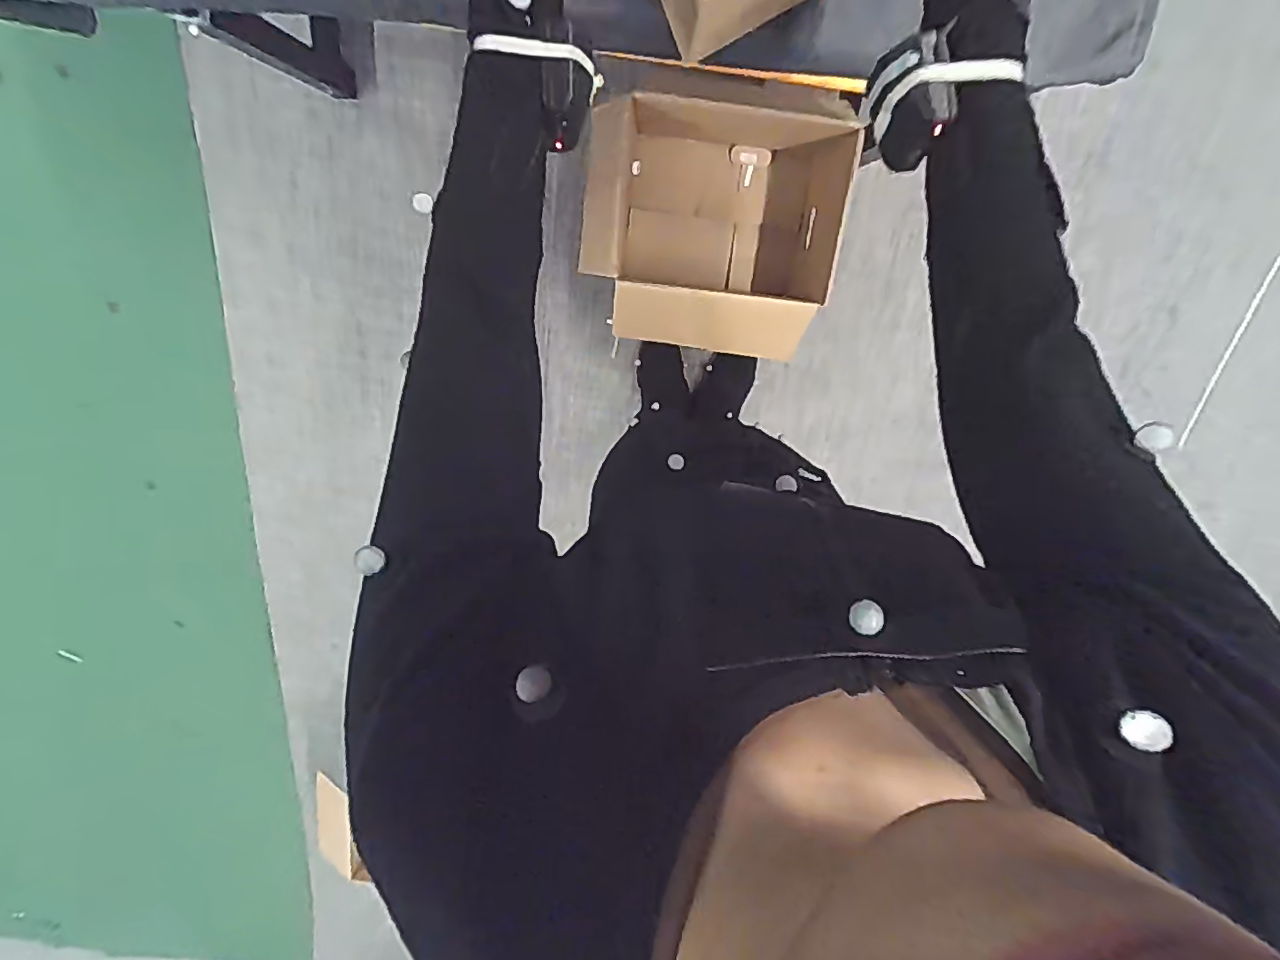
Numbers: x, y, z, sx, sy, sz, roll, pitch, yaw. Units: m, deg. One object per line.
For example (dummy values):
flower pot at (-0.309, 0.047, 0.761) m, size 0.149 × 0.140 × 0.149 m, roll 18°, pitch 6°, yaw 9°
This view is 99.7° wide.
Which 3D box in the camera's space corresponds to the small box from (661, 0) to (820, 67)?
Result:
small box at (0.092, -0.486, 0.437) m, size 0.179 × 0.176 × 0.168 m, roll -23°, pitch 110°, yaw 10°
